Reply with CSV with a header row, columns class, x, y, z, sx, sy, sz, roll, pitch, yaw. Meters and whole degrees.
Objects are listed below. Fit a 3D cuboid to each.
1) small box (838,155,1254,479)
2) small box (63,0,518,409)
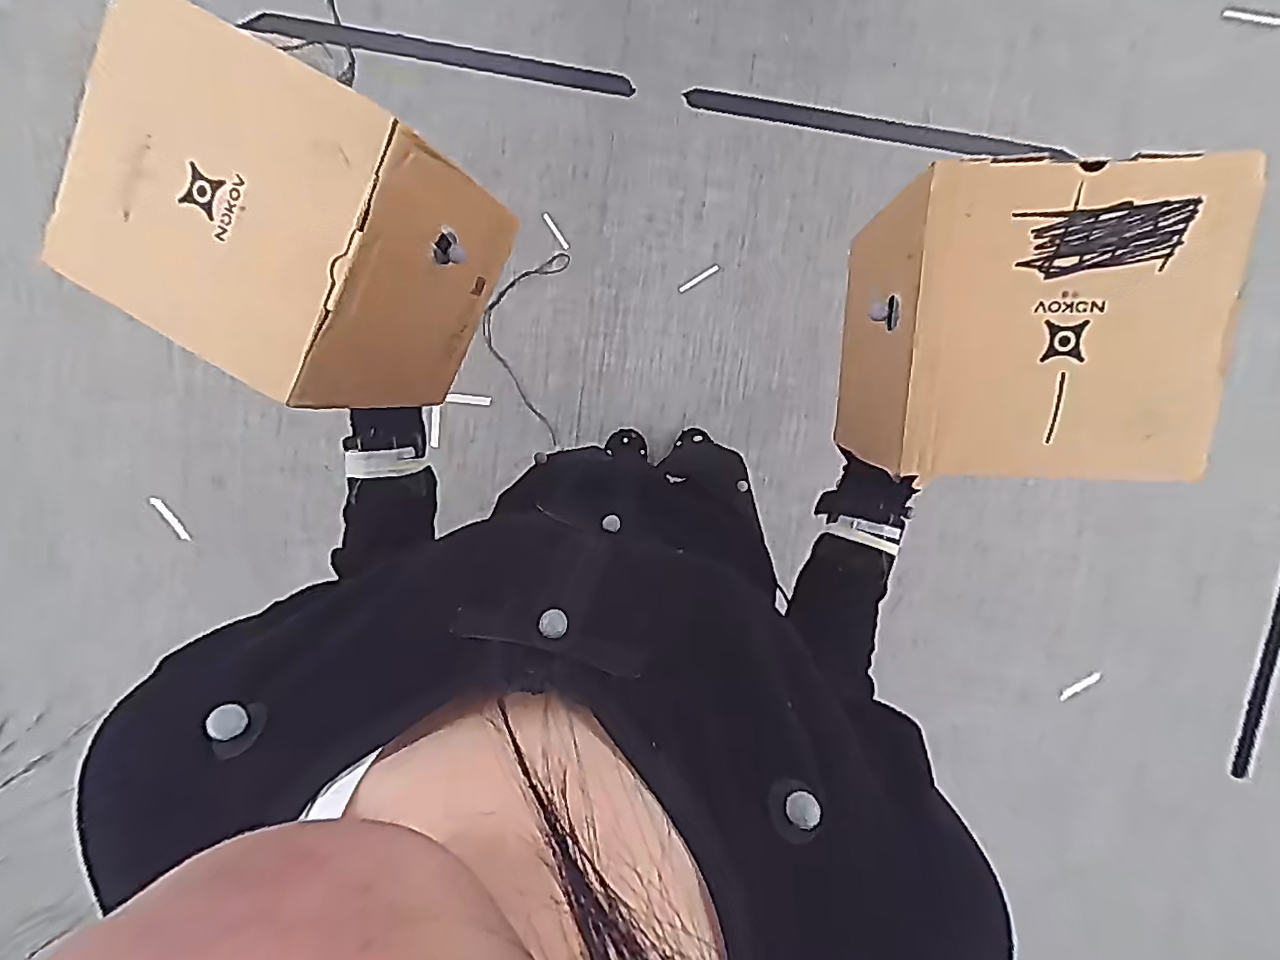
class,x,y,z,sx,sy,sz,roll,pitch,yaw
small box,0.249,-0.102,0.385,0.168,0.176,0.179,2,101,6
small box,-0.212,-0.163,0.372,0.179,0.176,0.168,29,101,5
